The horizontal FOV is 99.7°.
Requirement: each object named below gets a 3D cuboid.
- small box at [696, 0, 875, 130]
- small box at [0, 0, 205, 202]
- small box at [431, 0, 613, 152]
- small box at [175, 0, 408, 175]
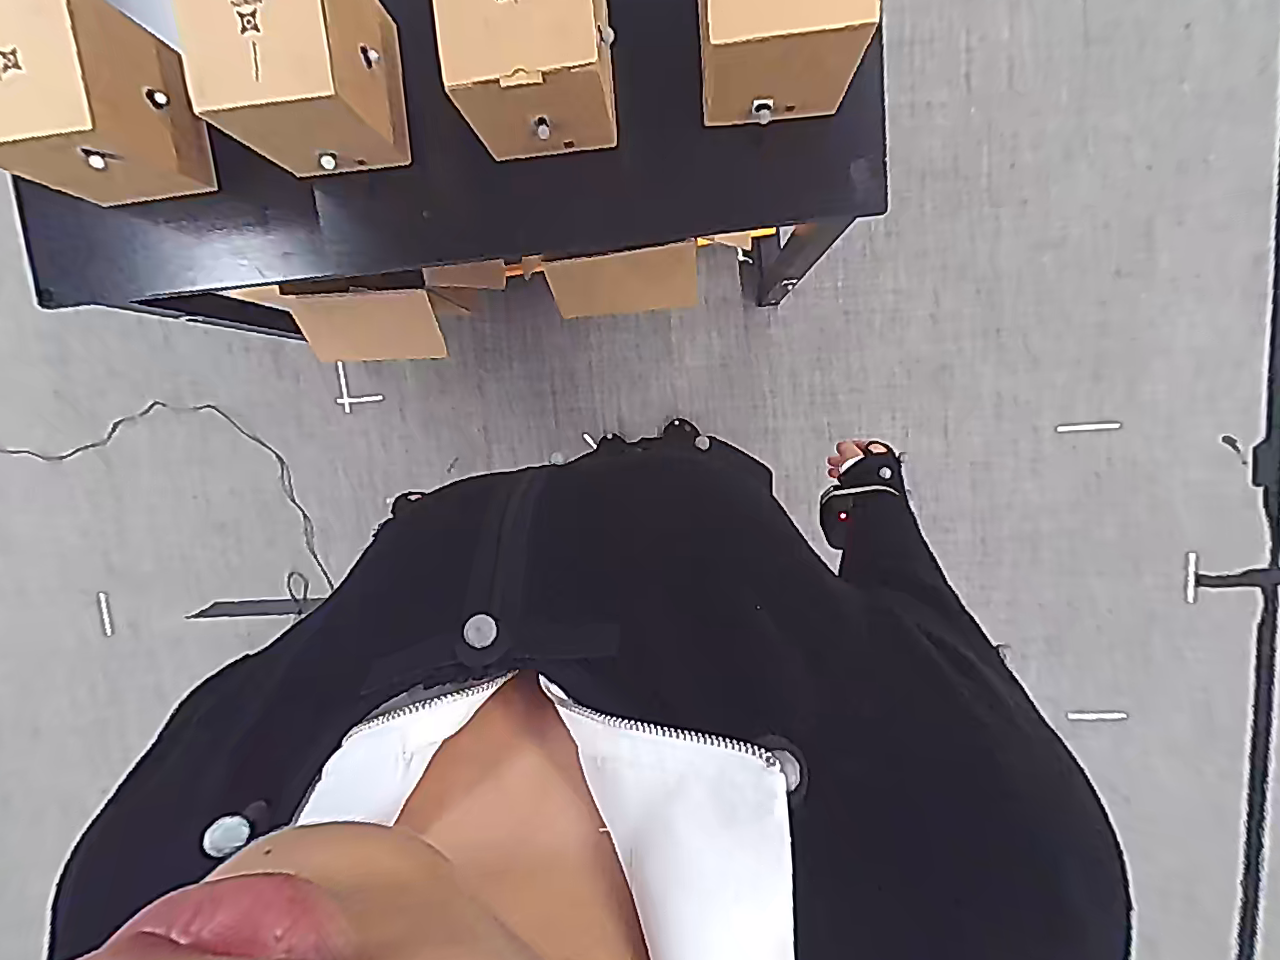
[{"bbox_3d":[0.149,-0.533,0.603,0.168,0.176,0.179,-4,97,6],"label":"small box"},{"bbox_3d":[-0.684,-0.466,0.667,0.179,0.176,0.168,-5,96,4],"label":"small box"},{"bbox_3d":[-0.126,-0.507,0.626,0.168,0.176,0.179,-4,97,5],"label":"small box"},{"bbox_3d":[-0.401,-0.496,0.645,0.168,0.176,0.179,-3,98,5],"label":"small box"}]
